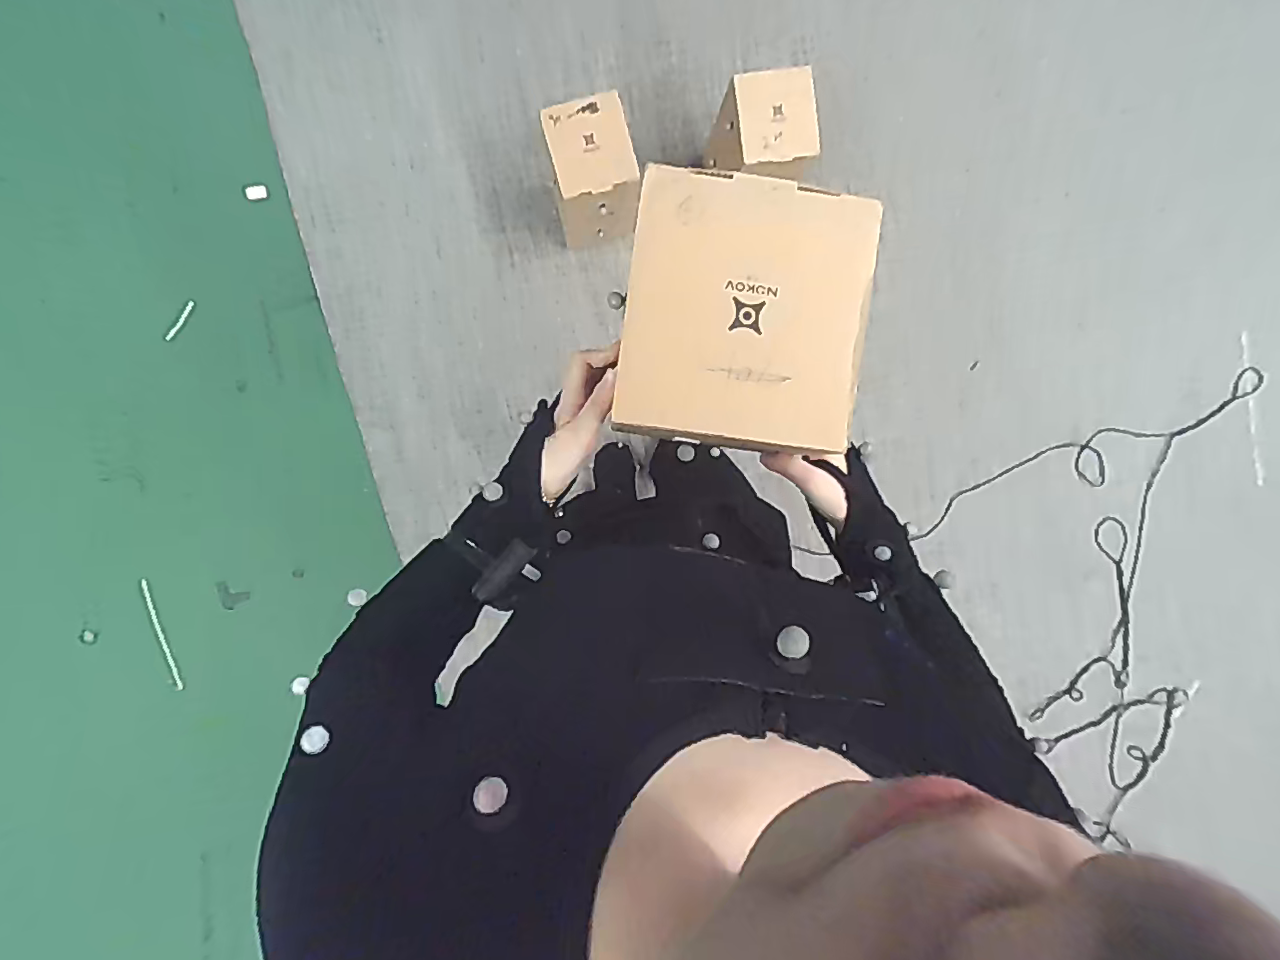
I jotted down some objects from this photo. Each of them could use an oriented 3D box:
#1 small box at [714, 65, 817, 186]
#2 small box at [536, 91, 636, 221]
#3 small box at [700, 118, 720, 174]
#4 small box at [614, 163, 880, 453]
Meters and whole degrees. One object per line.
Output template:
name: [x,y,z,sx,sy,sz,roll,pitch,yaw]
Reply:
small box: [0.266,-0.754,1.179,0.168,0.176,0.179,-10,98,-3]
small box: [-0.112,-0.675,1.155,0.168,0.176,0.179,-16,98,-3]
small box: [0.249,-0.770,1.342,0.168,0.176,0.179,-8,98,-4]
small box: [0.070,-0.120,0.448,0.168,0.176,0.179,7,92,-3]
